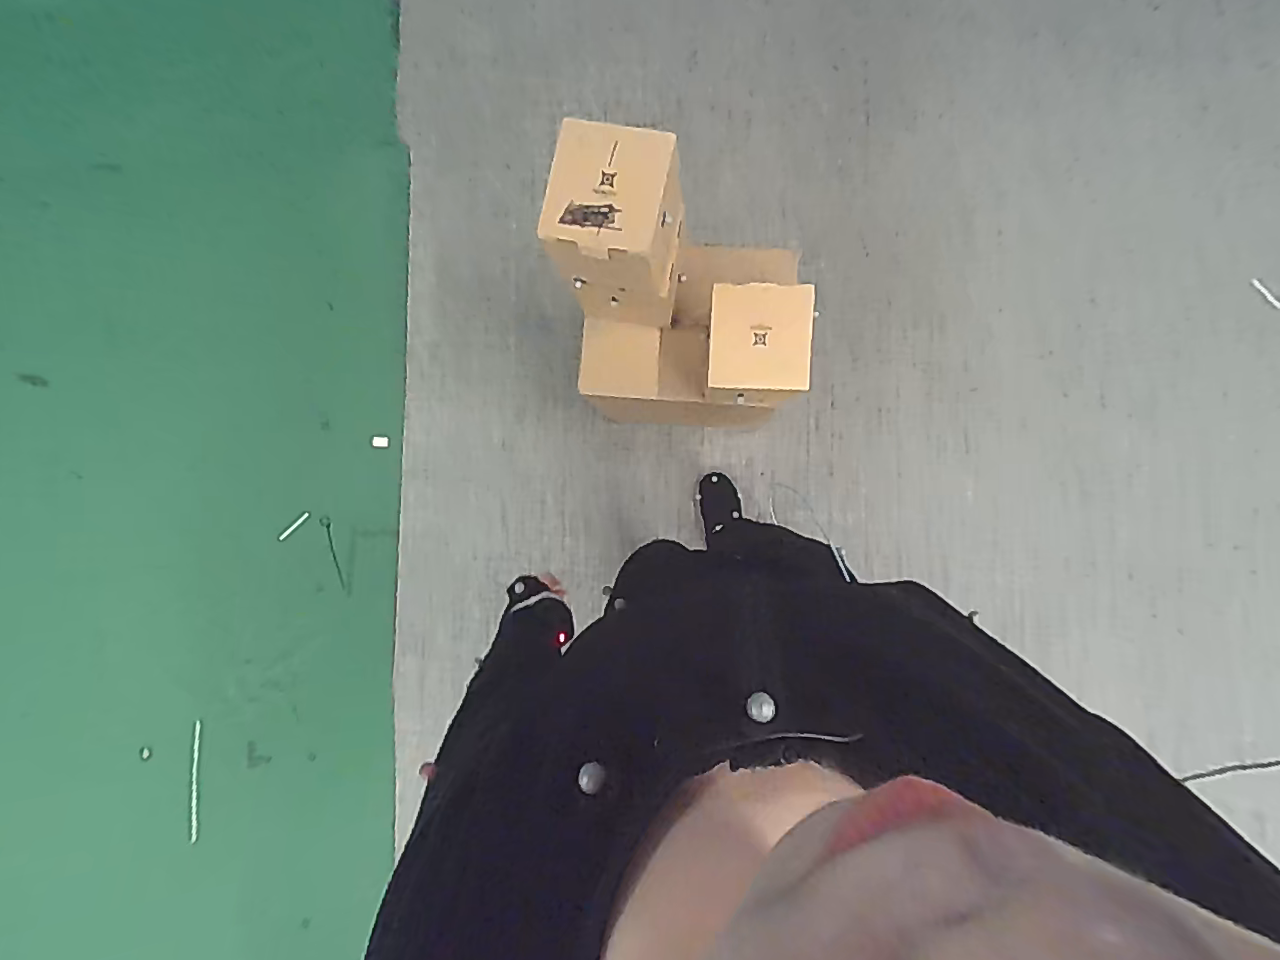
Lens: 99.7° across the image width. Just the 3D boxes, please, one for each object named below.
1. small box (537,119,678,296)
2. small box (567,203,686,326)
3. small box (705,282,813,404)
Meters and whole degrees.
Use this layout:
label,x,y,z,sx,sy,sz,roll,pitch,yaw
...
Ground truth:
label,x,y,z,sx,sy,sz,roll,pitch,yaw
small box,-0.039,-0.404,0.829,0.168,0.176,0.179,13,88,7
small box,-0.017,-0.395,0.993,0.179,0.176,0.168,11,90,6
small box,0.204,-0.234,0.961,0.168,0.176,0.179,3,89,6
